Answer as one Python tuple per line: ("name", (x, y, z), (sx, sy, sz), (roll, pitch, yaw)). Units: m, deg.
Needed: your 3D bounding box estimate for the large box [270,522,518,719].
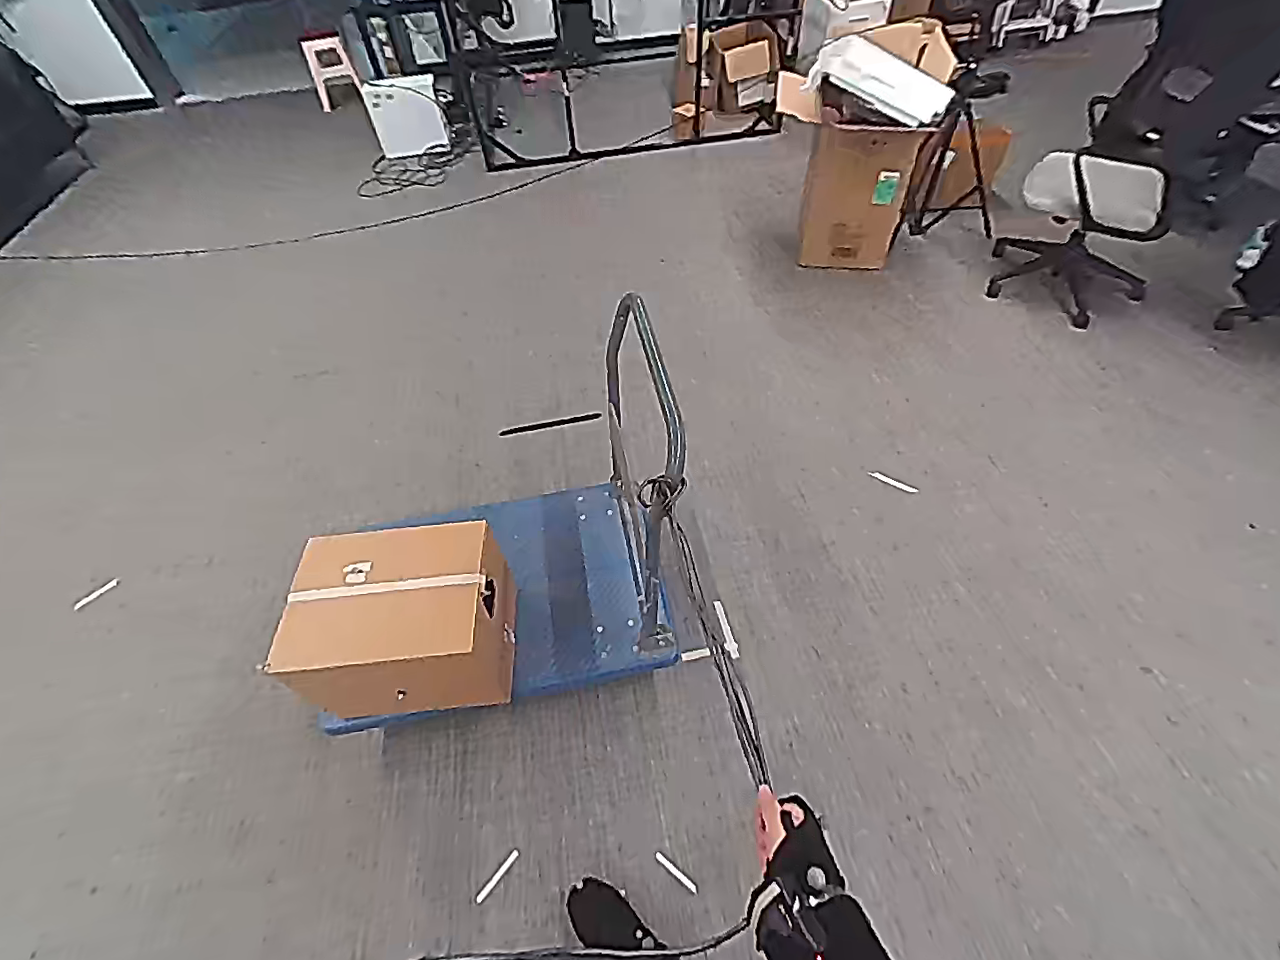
("large box", (-0.512, 0.328, 1.237), (0.408, 0.320, 0.320), (-6, 50, 0))
